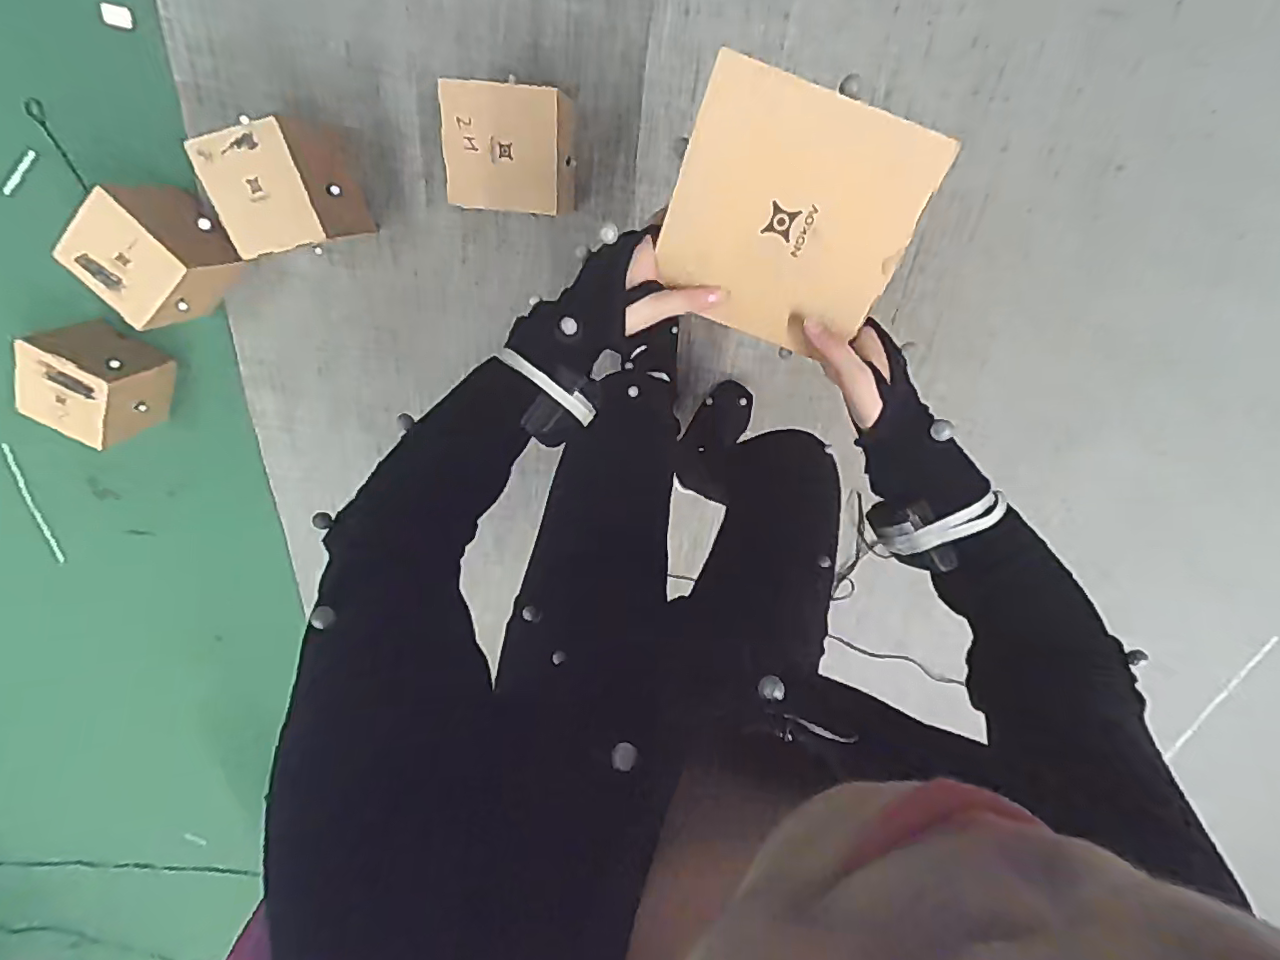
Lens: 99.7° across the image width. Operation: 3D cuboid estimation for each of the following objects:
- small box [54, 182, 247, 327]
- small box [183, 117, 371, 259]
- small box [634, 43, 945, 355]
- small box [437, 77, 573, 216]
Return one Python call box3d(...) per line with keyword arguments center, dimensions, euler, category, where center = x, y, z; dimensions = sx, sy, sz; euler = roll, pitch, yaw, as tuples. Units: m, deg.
box3d(center=(-0.879, -0.412, 0.989), dimensions=(0.179, 0.176, 0.168), euler=(-33, 111, 19), category="small box")
box3d(center=(-0.599, -0.495, 0.923), dimensions=(0.168, 0.176, 0.179), euler=(-8, 118, 9), category="small box")
box3d(center=(0.110, -0.233, 0.469), dimensions=(0.179, 0.176, 0.168), euler=(19, 121, -3), category="small box")
box3d(center=(-0.206, -0.530, 0.873), dimensions=(0.179, 0.176, 0.168), euler=(6, 118, 0), category="small box")
